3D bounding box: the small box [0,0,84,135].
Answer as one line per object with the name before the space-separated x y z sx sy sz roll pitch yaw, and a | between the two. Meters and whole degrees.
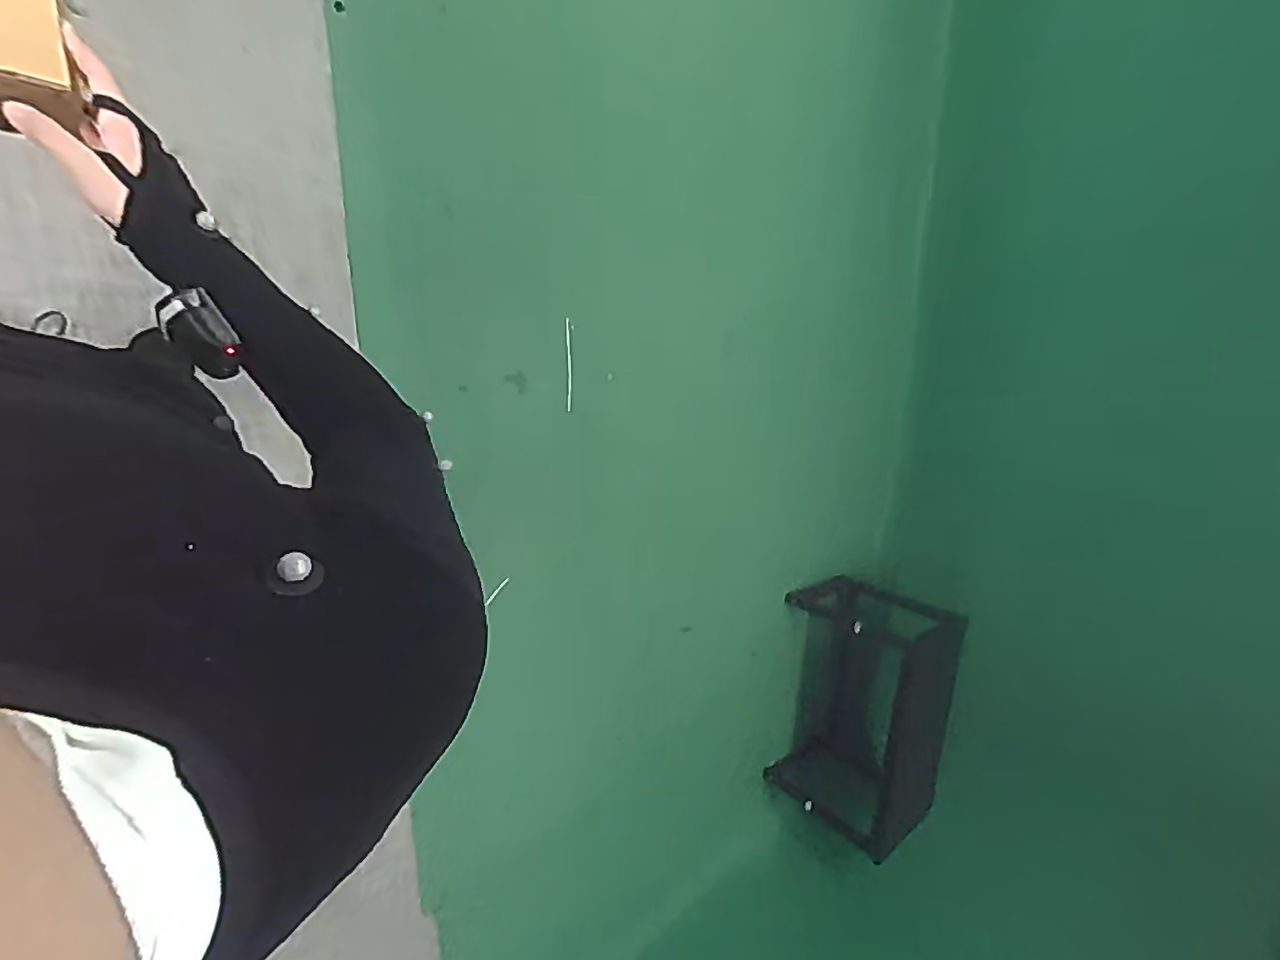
small box | -0.563 -0.403 0.416 0.168 0.176 0.179 -9 108 -40
